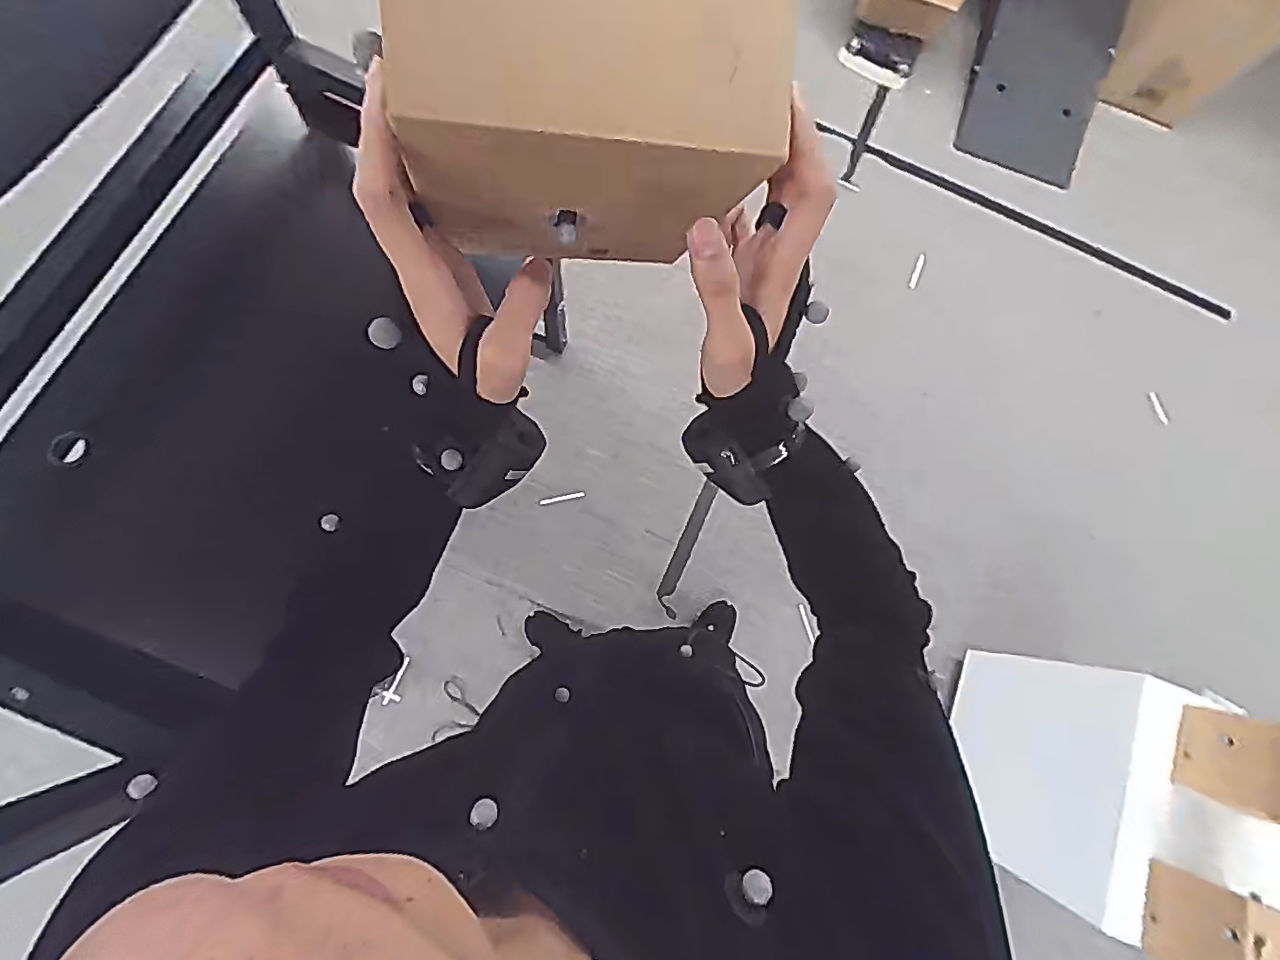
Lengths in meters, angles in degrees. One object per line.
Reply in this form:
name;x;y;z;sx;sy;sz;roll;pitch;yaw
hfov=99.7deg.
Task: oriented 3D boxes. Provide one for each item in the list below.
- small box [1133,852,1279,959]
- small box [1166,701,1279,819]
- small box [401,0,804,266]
small box;1.070;0.822;0.987;0.179;0.176;0.168;21;76;-2
small box;1.200;0.551;1.060;0.179;0.176;0.168;24;78;-1
small box;-0.027;-0.227;0.290;0.168;0.176;0.179;-2;97;-14
